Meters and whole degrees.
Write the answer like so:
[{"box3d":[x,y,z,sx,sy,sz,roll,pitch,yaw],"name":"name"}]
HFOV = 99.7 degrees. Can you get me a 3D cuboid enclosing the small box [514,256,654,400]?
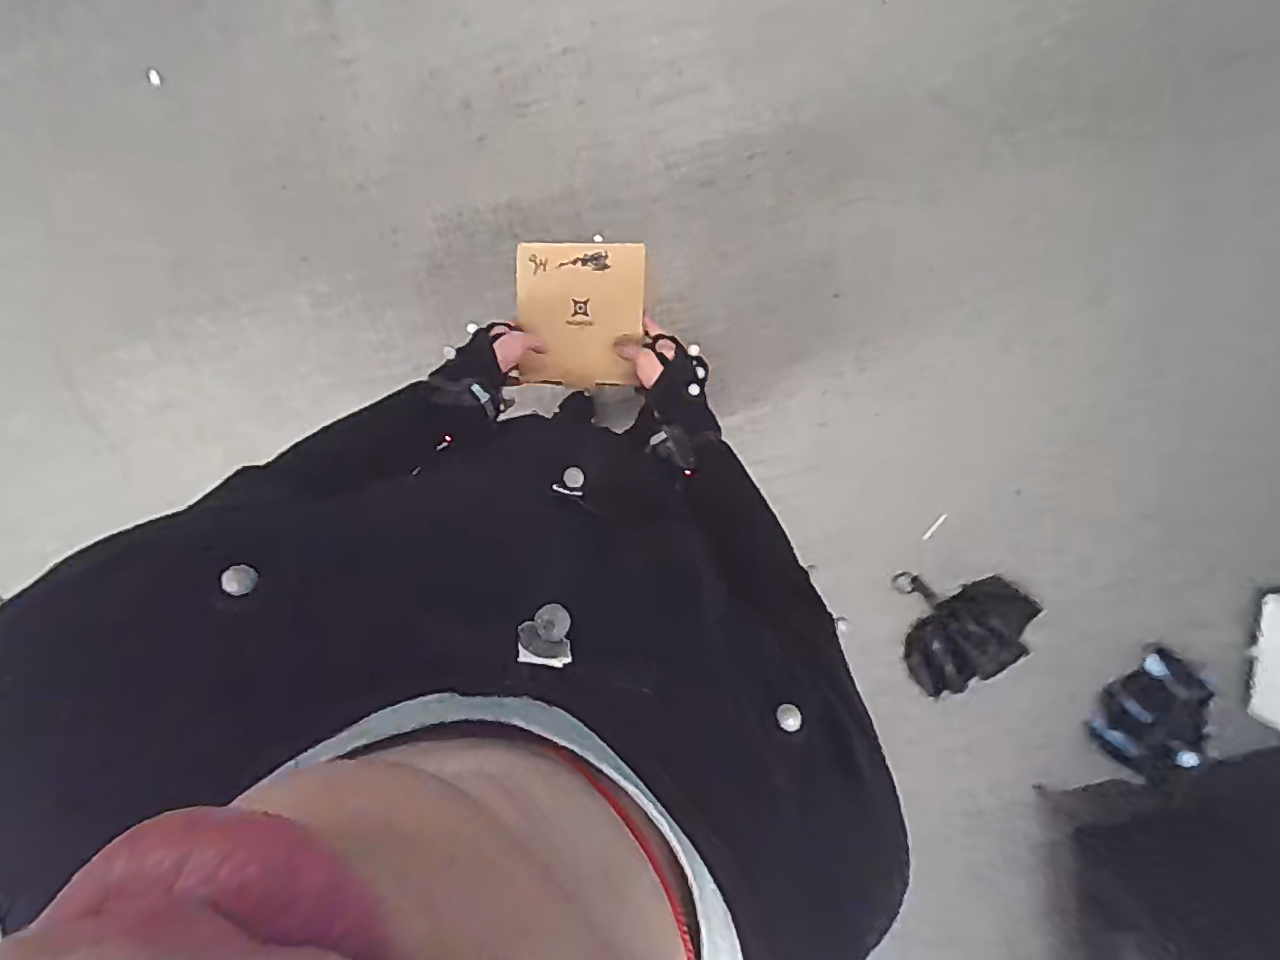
[{"box3d":[-0.068,-0.211,0.763,0.168,0.176,0.179,2,104,6],"name":"small box"}]
